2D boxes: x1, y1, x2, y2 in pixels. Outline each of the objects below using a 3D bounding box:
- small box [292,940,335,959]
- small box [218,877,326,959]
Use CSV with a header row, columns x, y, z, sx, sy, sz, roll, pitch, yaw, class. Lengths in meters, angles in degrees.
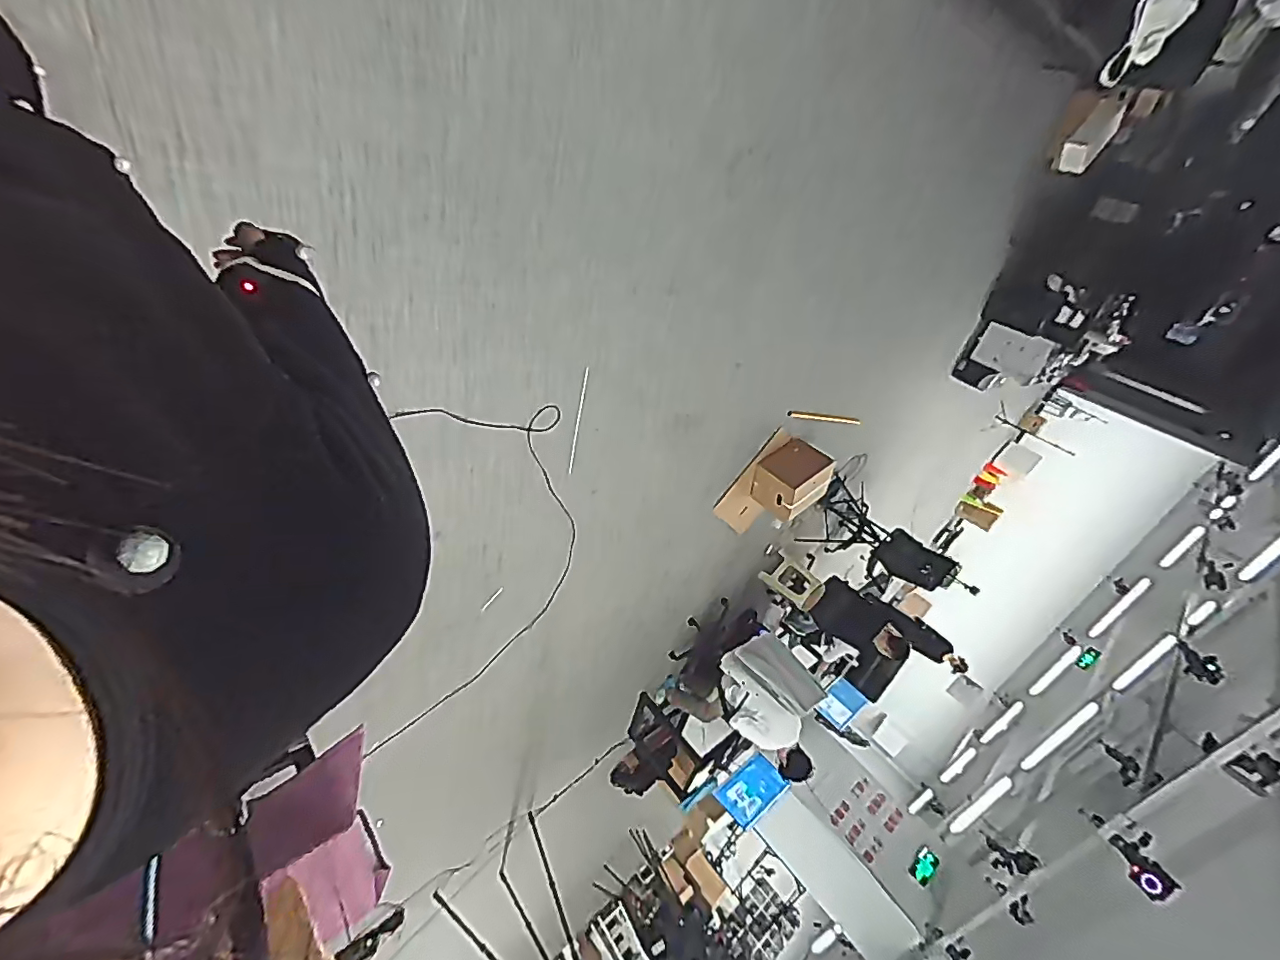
x,y,z,sx,sy,sz,roll,pitch,yaw,class
-0.762,1.184,1.201,0.179,0.176,0.168,-22,138,-34,small box
-0.870,1.096,1.285,0.168,0.176,0.179,-21,138,-36,small box
